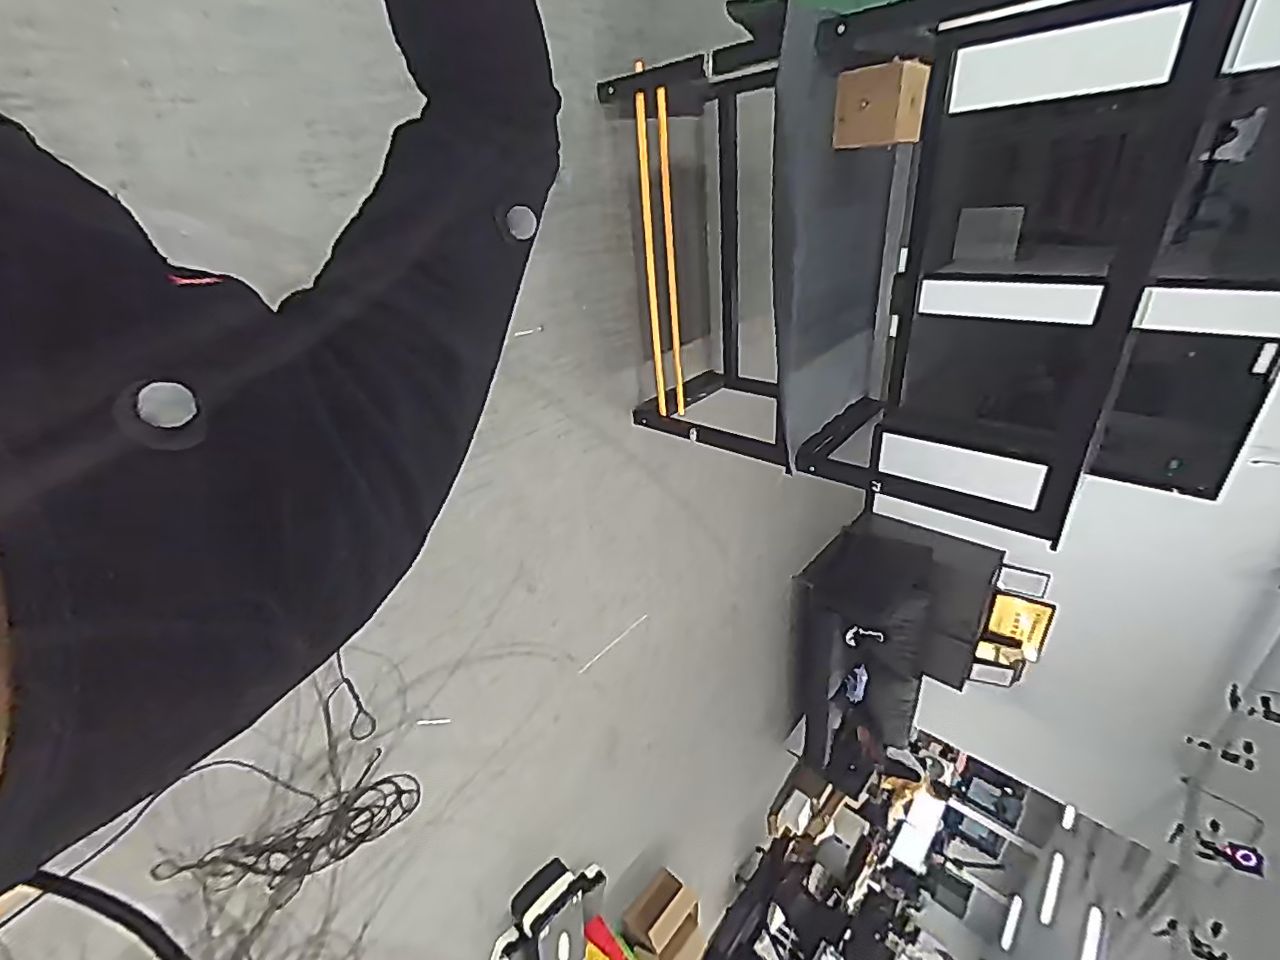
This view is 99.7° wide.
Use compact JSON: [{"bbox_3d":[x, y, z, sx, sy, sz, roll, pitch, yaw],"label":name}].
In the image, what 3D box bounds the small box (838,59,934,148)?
[{"bbox_3d":[0.631,-0.963,1.400,0.179,0.176,0.168,-29,128,-39],"label":"small box"}]
